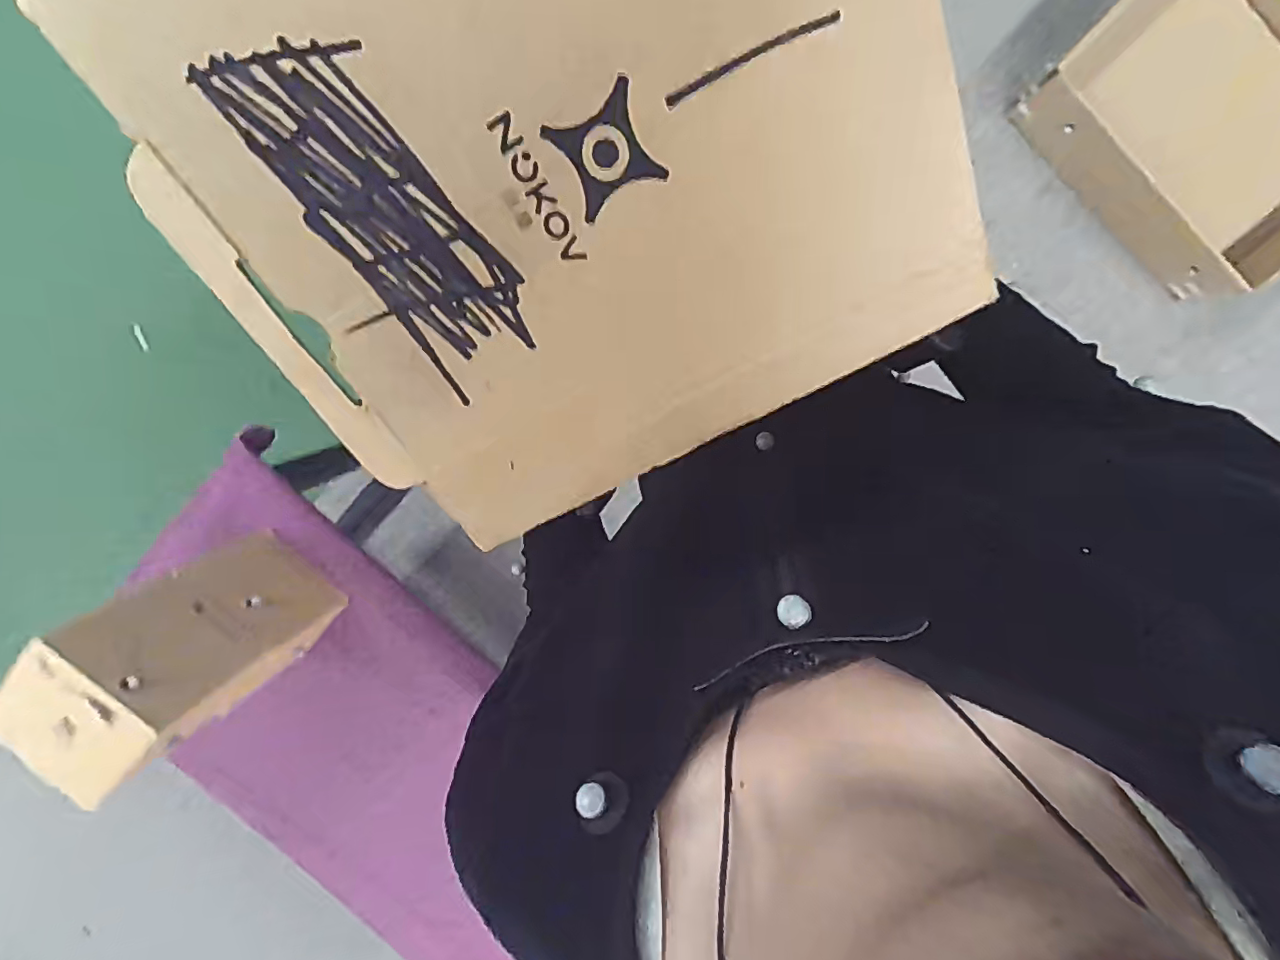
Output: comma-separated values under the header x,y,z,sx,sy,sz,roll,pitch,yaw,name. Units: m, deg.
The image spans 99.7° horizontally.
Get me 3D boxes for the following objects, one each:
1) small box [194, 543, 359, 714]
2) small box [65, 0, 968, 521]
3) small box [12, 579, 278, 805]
x,y,z,sx,sy,sz,roll,pitch,yaw,name
-0.602,0.222,0.864,0.179,0.176,0.168,43,106,-6,small box
-0.019,-0.120,0.208,0.179,0.176,0.168,-25,118,12,small box
-0.628,0.266,0.707,0.168,0.176,0.179,44,107,-6,small box
